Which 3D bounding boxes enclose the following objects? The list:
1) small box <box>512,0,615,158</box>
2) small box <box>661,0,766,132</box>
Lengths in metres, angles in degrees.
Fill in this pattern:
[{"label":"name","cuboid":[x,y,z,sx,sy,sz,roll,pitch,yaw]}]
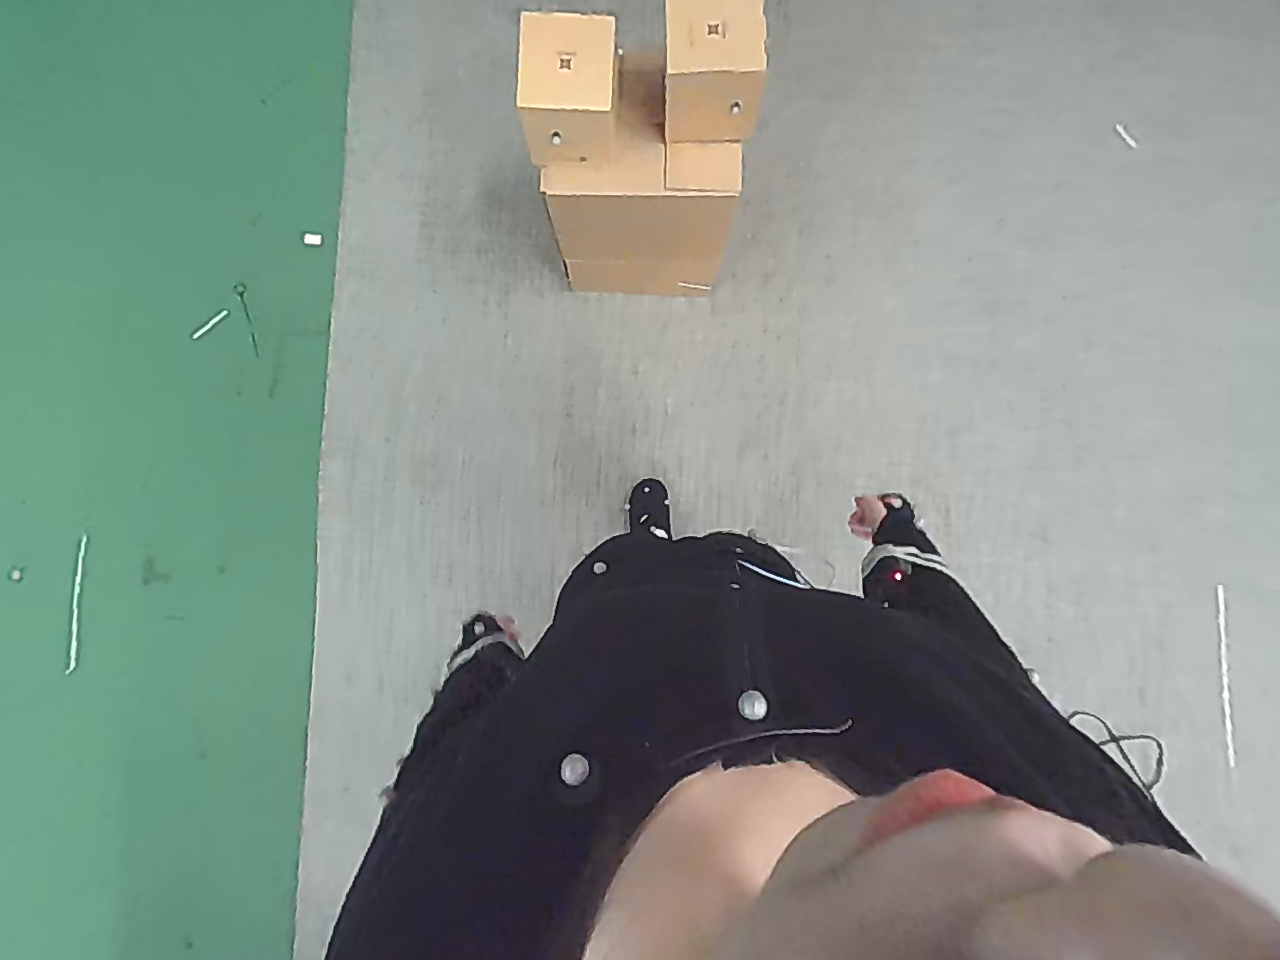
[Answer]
[{"label":"small box","cuboid":[-0.134,-0.734,1.006,0.168,0.176,0.179,2,87,-2]},{"label":"small box","cuboid":[0.130,-0.785,1.012,0.179,0.176,0.168,1,85,1]}]
